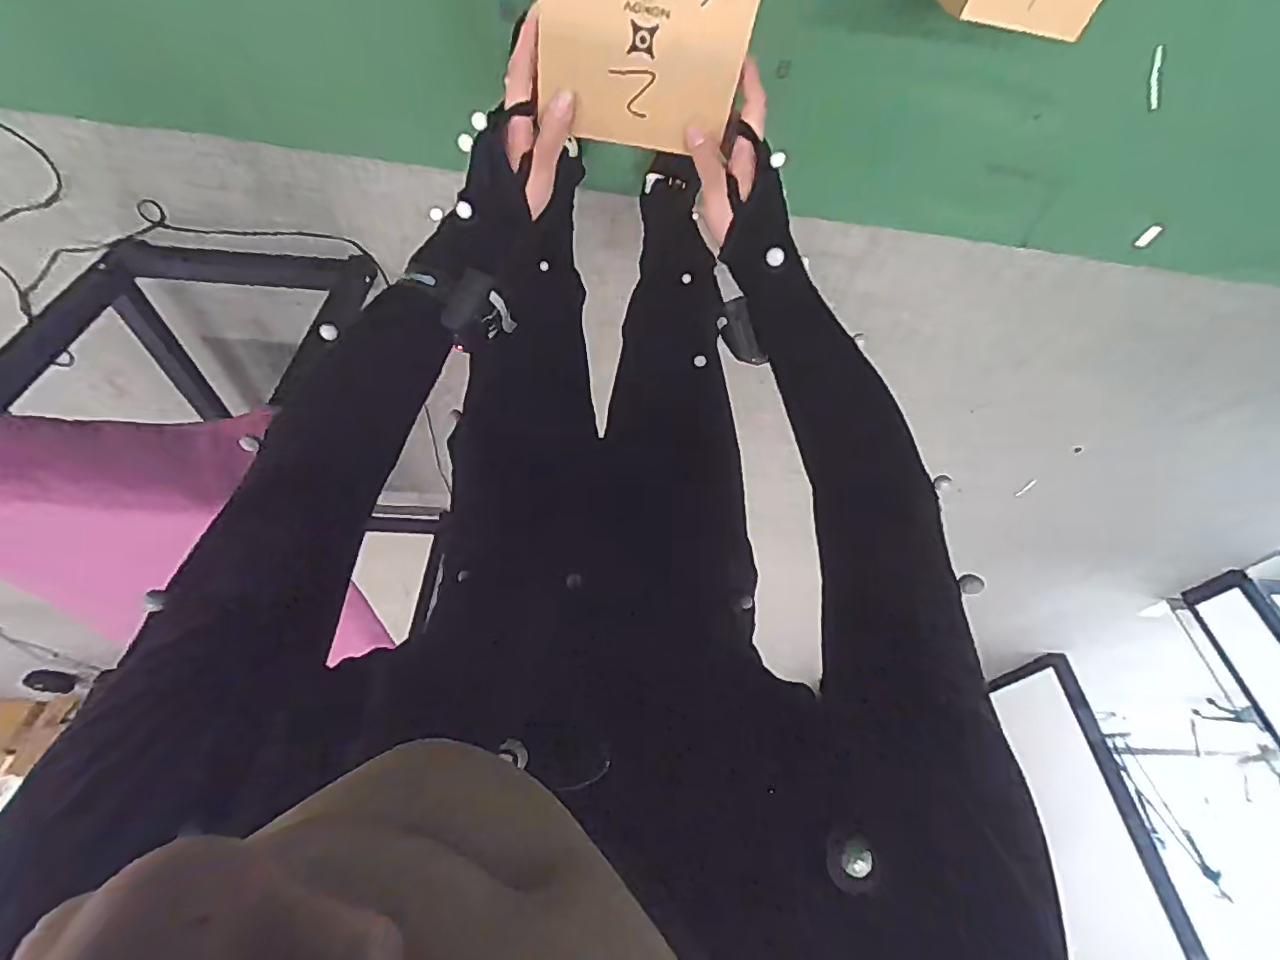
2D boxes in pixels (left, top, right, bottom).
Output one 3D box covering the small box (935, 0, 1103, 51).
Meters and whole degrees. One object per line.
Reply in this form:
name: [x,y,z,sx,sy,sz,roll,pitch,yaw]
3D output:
small box: [0.496,-0.686,0.679,0.168,0.176,0.179,5,143,-8]
